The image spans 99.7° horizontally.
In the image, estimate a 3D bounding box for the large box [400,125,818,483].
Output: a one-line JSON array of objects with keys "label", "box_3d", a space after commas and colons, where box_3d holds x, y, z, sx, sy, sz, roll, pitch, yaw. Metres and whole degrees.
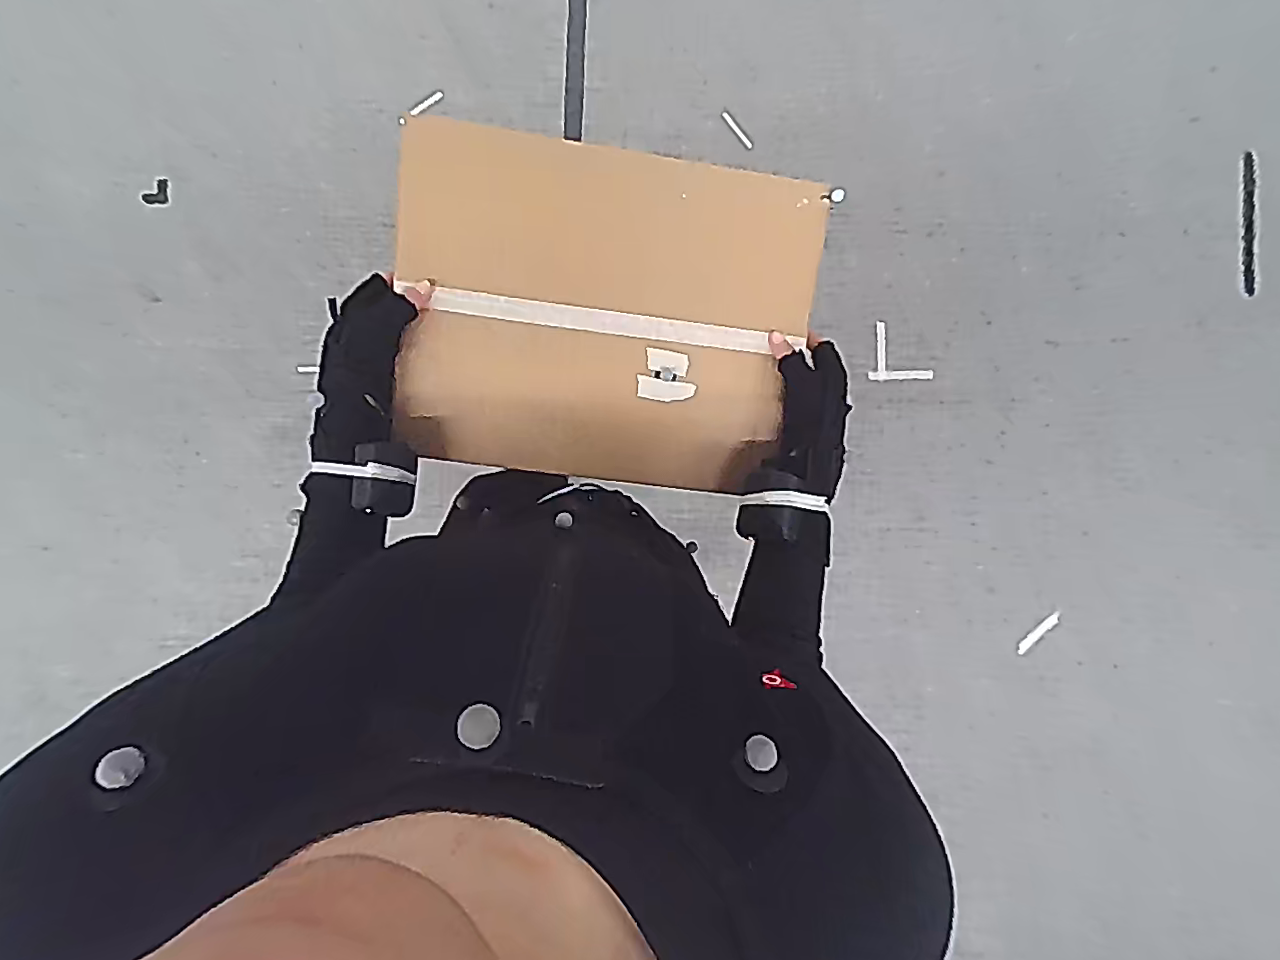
[{"label": "large box", "box_3d": [-0.046, -0.191, 0.694, 0.408, 0.320, 0.320, 7, 100, -5]}]
